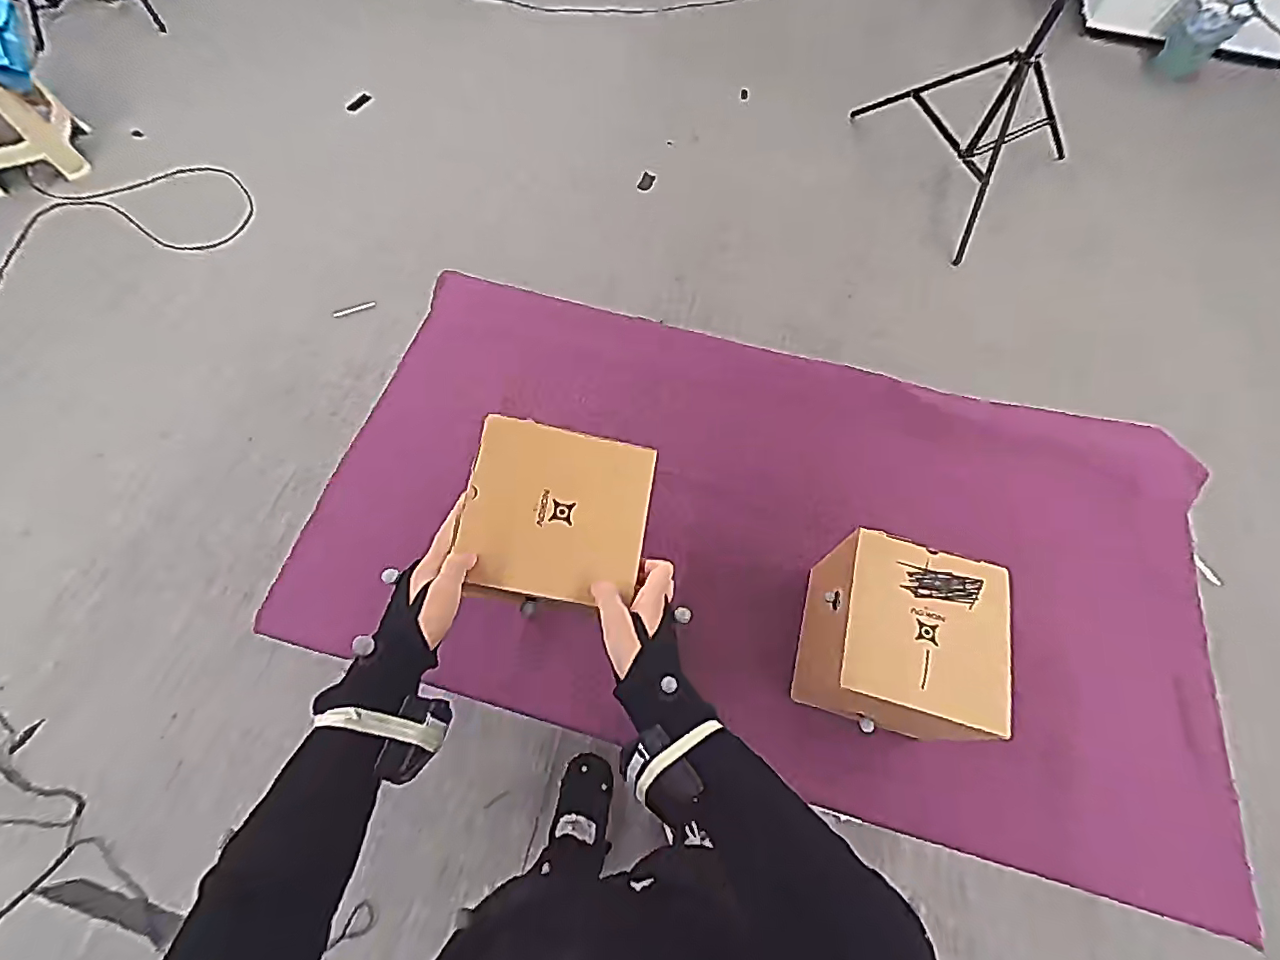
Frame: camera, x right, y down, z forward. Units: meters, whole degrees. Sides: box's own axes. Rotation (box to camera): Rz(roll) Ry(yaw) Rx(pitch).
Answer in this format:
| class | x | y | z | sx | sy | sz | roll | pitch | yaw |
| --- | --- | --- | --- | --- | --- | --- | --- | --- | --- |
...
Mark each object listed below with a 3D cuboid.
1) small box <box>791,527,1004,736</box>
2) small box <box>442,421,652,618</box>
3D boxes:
| class | x | y | z | sx | sy | sz | roll | pitch | yaw |
| --- | --- | --- | --- | --- | --- | --- | --- | --- | --- |
| small box | 0.288 | 0.182 | 0.631 | 0.168 | 0.176 | 0.179 | 16 | 65 | 5 |
| small box | -0.100 | 0.056 | 0.603 | 0.179 | 0.176 | 0.168 | 13 | 72 | -8 |
